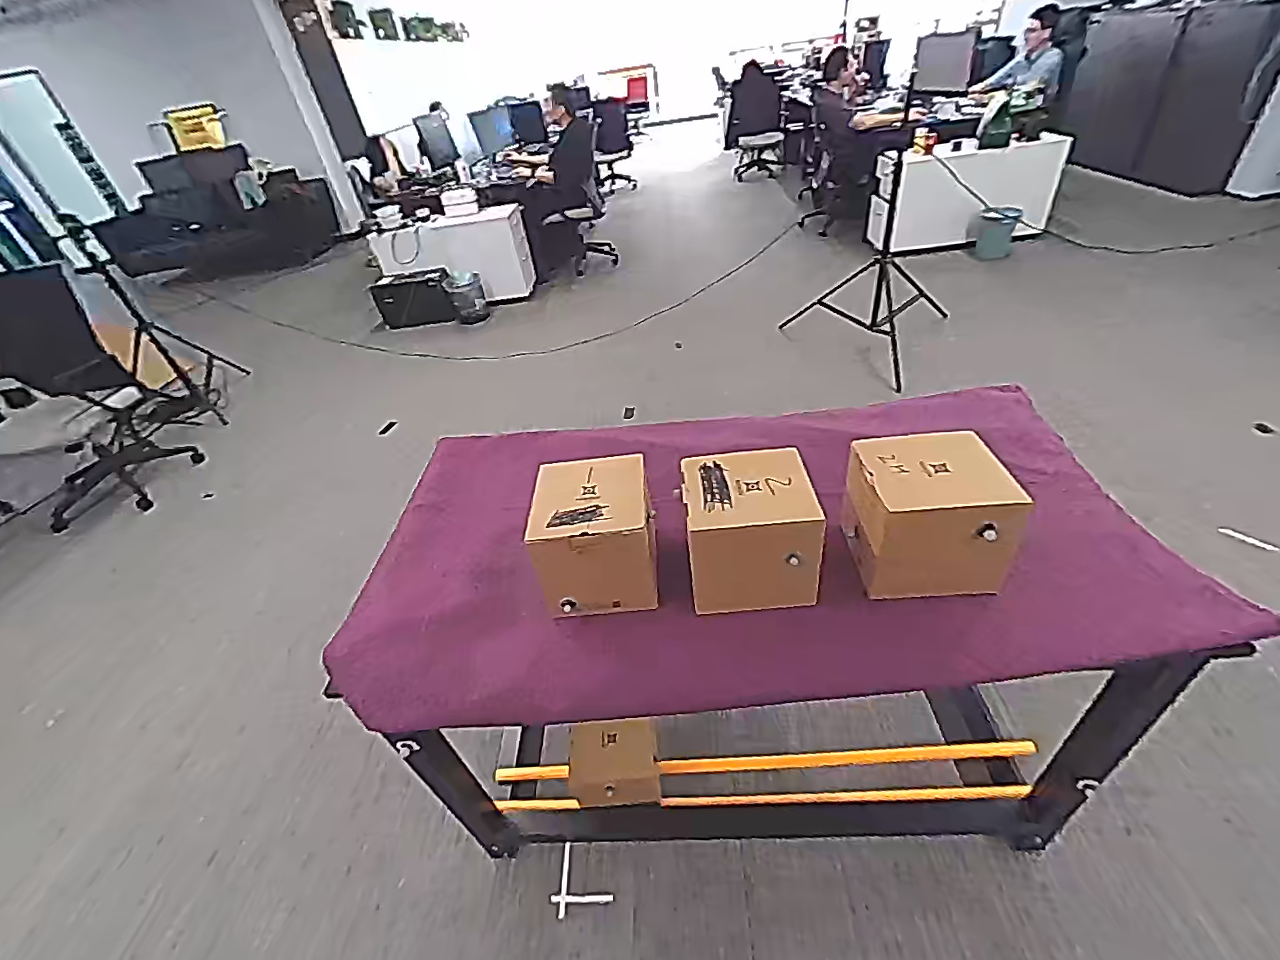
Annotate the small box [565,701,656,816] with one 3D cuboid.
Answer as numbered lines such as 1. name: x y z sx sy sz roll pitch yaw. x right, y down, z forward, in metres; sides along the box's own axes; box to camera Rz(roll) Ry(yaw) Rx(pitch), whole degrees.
1. small box: -0.059 0.609 1.178 0.179 0.176 0.168 -8 40 2
